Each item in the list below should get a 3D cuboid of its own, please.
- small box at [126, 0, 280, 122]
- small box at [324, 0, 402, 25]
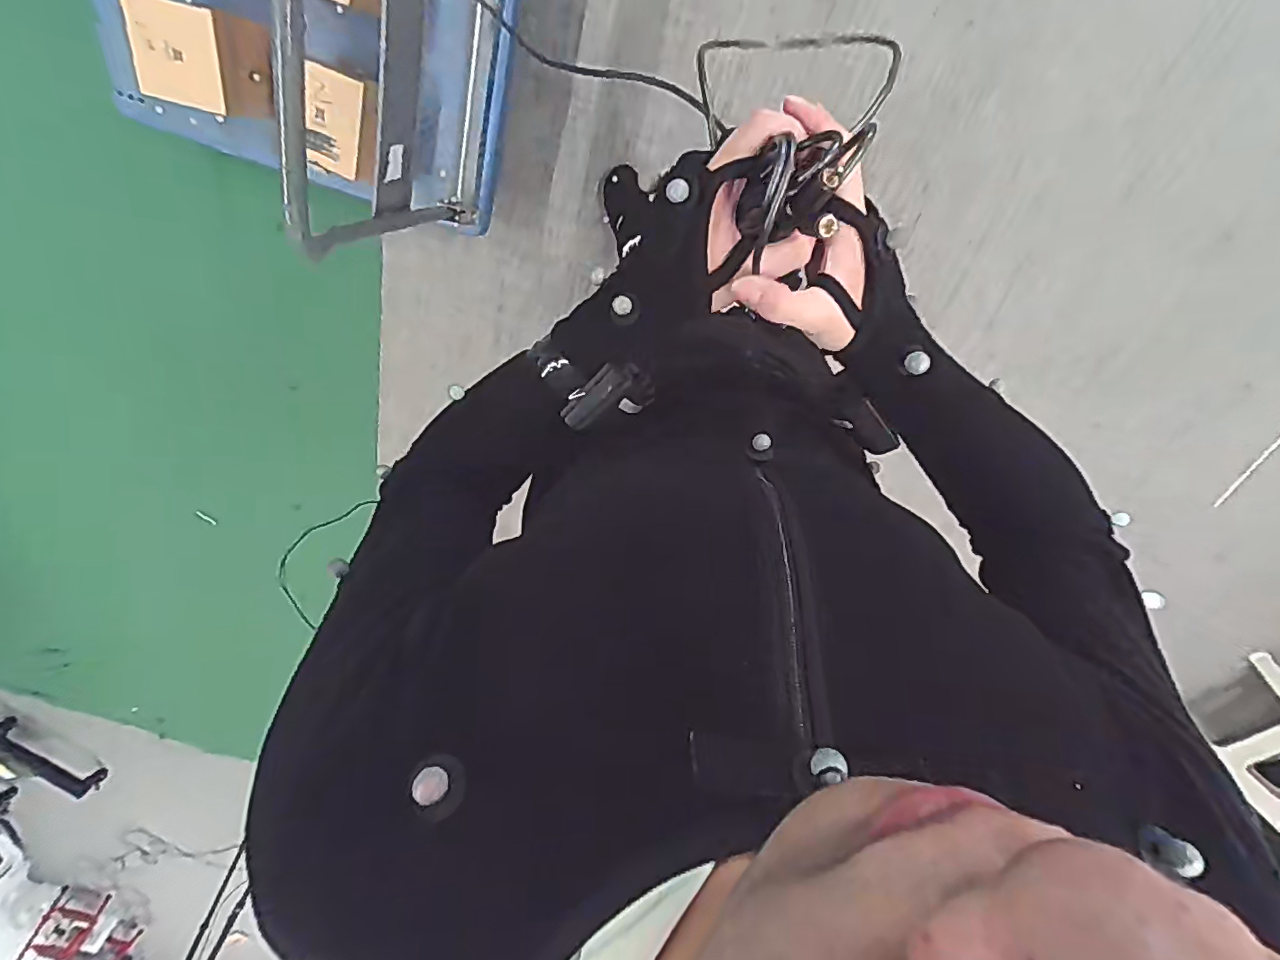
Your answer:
[{"bbox_3d":[-0.864,-0.843,1.095,0.179,0.176,0.168,15,120,-1],"label":"small box"},{"bbox_3d":[-0.552,-0.967,0.980,0.179,0.176,0.168,18,121,-4],"label":"small box"}]
